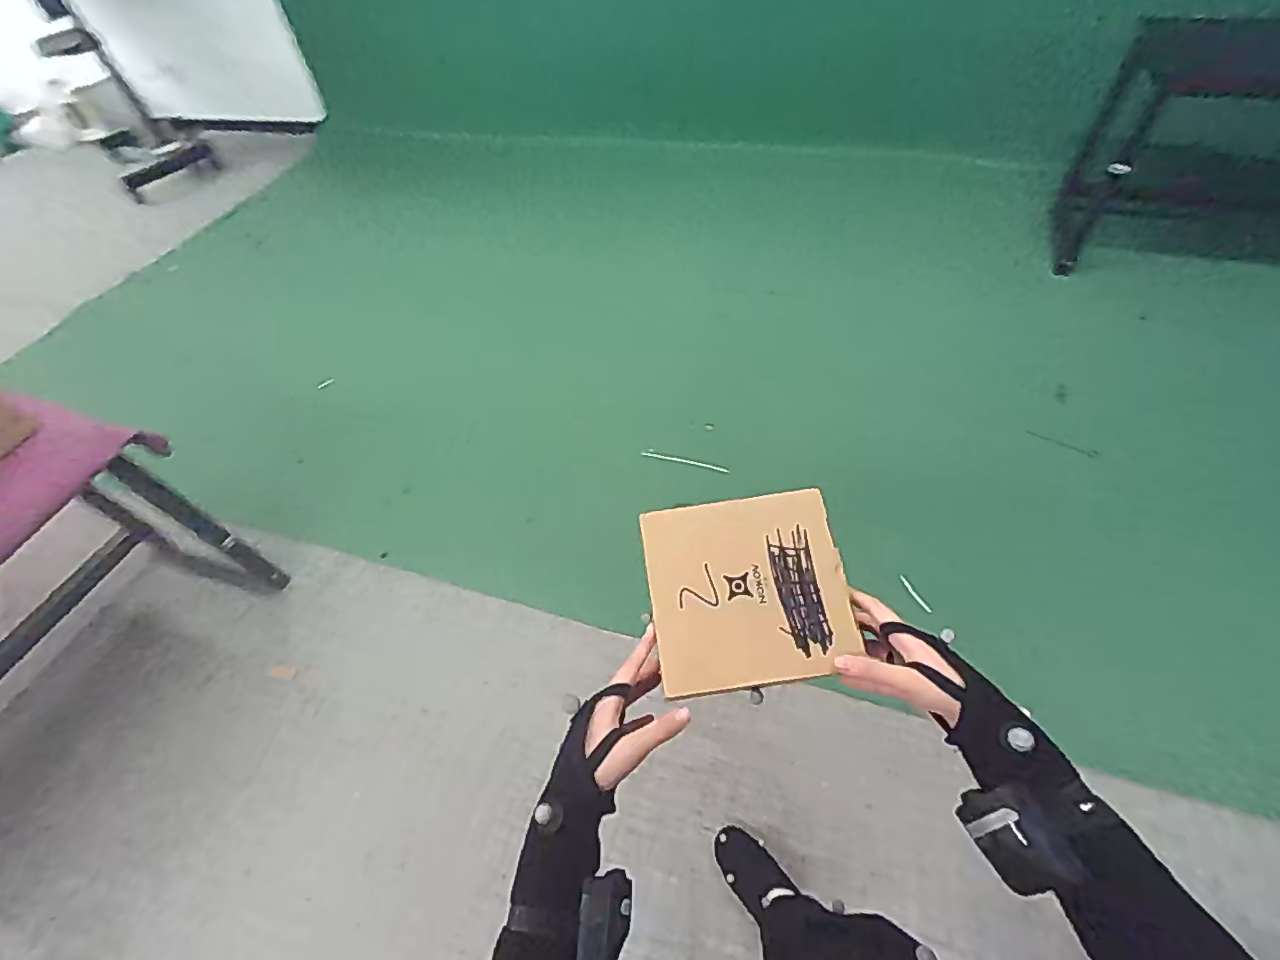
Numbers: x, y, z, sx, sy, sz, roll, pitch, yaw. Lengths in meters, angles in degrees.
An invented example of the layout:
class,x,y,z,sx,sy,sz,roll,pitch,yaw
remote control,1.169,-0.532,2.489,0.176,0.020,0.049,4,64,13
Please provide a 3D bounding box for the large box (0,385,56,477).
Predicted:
class,x,y,z,sx,sy,sz,roll,pitch,yaw
large box,-1.541,-0.131,1.053,0.408,0.320,0.320,13,58,15
